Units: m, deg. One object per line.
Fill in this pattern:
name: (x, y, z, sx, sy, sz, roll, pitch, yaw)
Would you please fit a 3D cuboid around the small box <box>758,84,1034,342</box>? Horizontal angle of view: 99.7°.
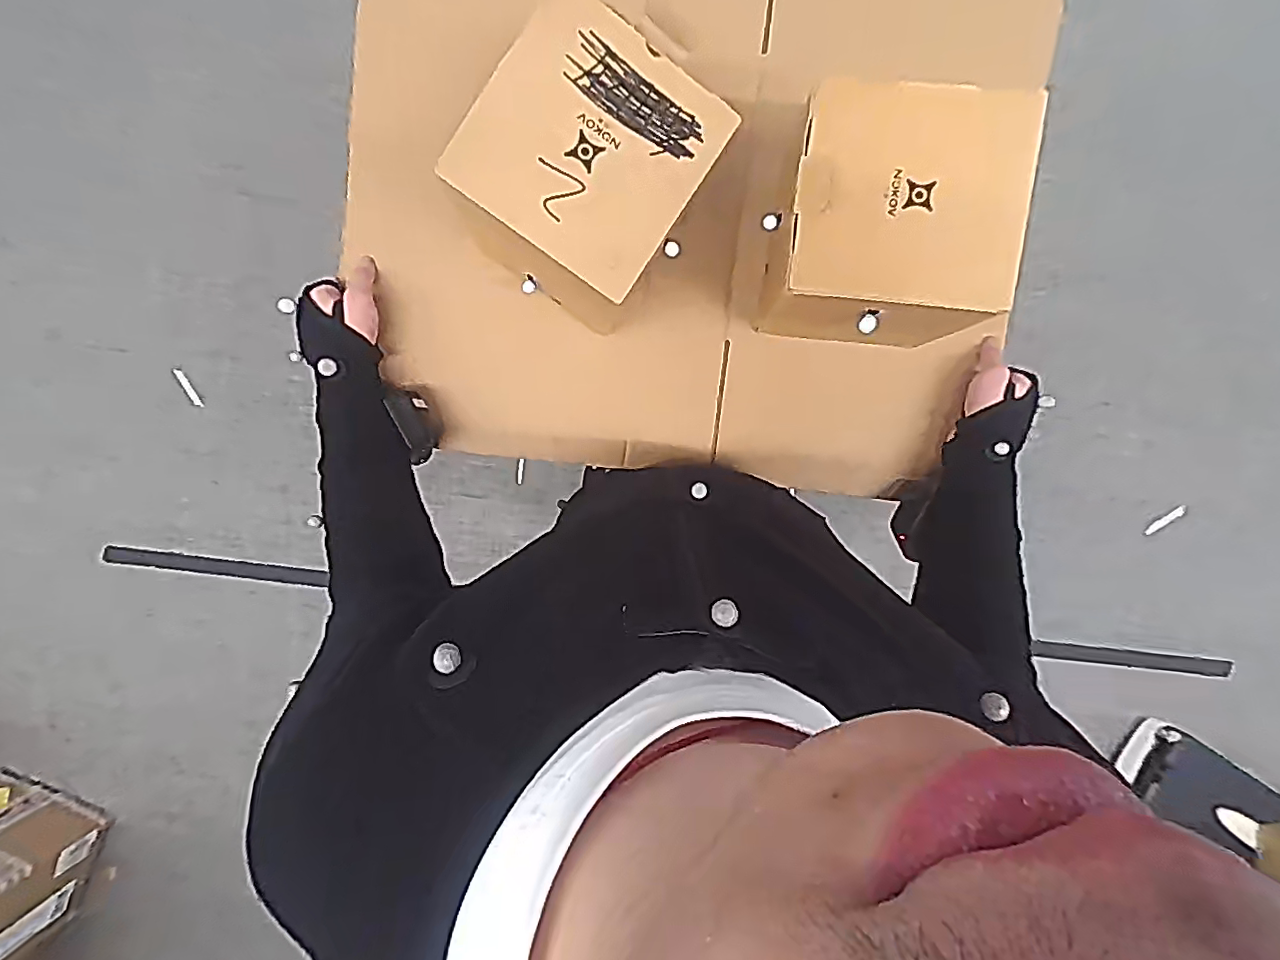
small box: (0.220, -0.232, 0.515, 0.179, 0.176, 0.168, 7, 95, 4)
